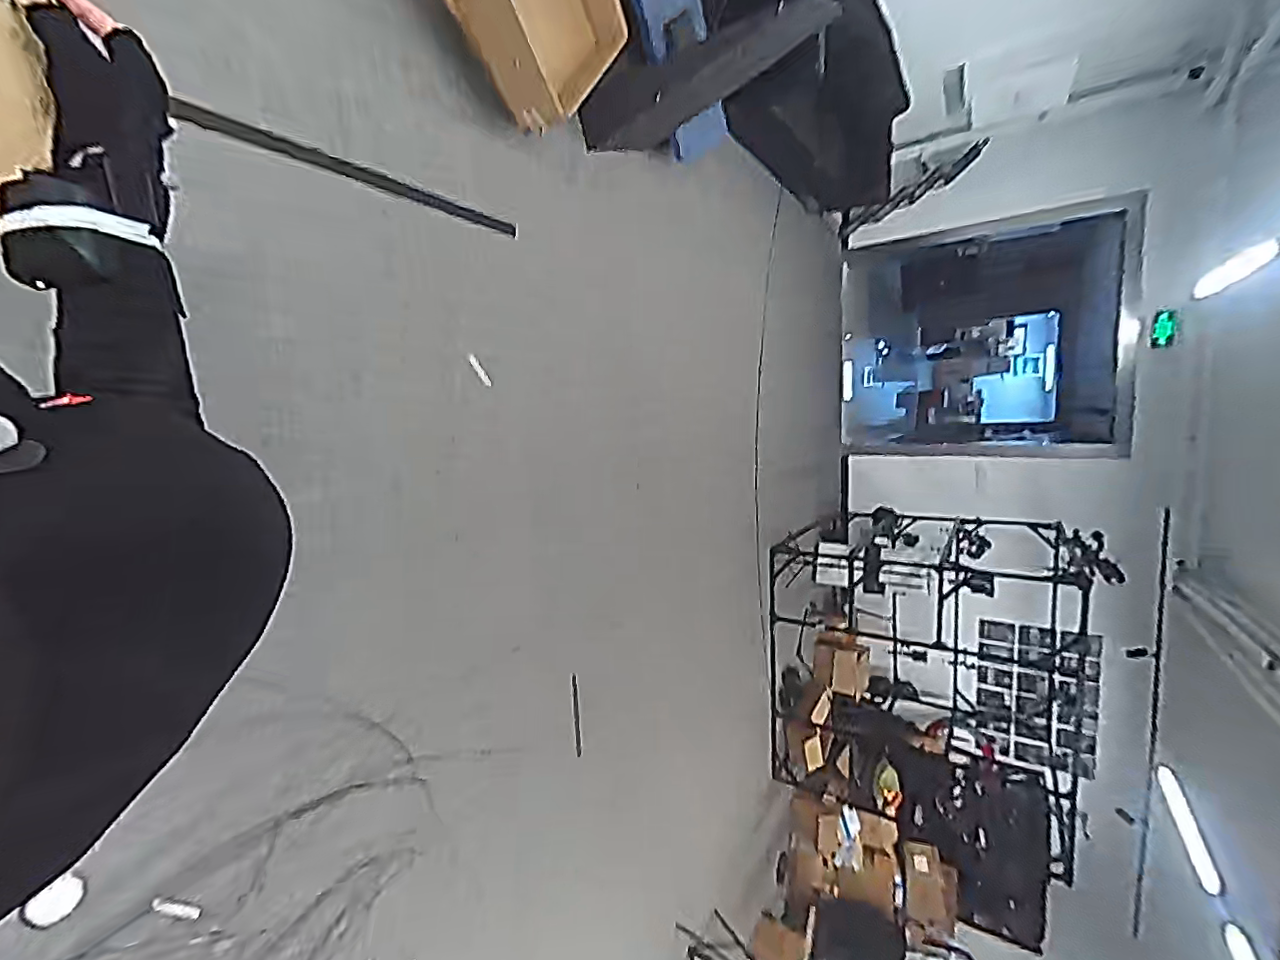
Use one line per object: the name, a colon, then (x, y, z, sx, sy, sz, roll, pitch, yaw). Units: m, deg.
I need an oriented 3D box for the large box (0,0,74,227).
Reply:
large box: (-0.665, -0.348, 0.299, 0.408, 0.320, 0.320, -16, 116, -58)
